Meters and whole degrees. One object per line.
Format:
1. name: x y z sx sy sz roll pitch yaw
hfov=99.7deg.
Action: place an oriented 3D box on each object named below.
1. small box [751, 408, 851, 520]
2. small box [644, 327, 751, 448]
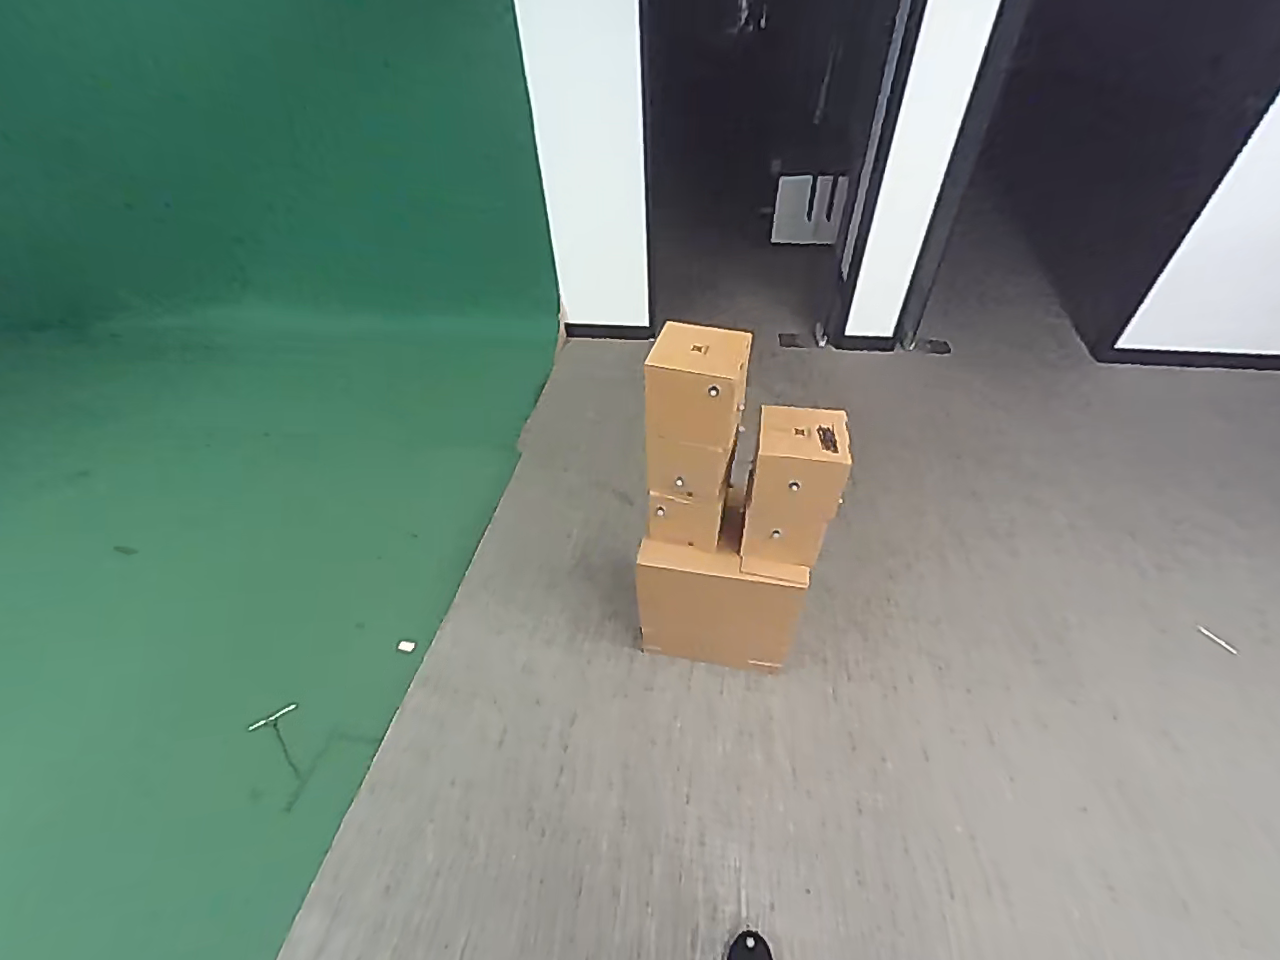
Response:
1. small box: 0.335 -0.032 1.147 0.179 0.176 0.168 5 46 11
2. small box: 0.115 -0.184 1.082 0.179 0.176 0.168 12 47 13
